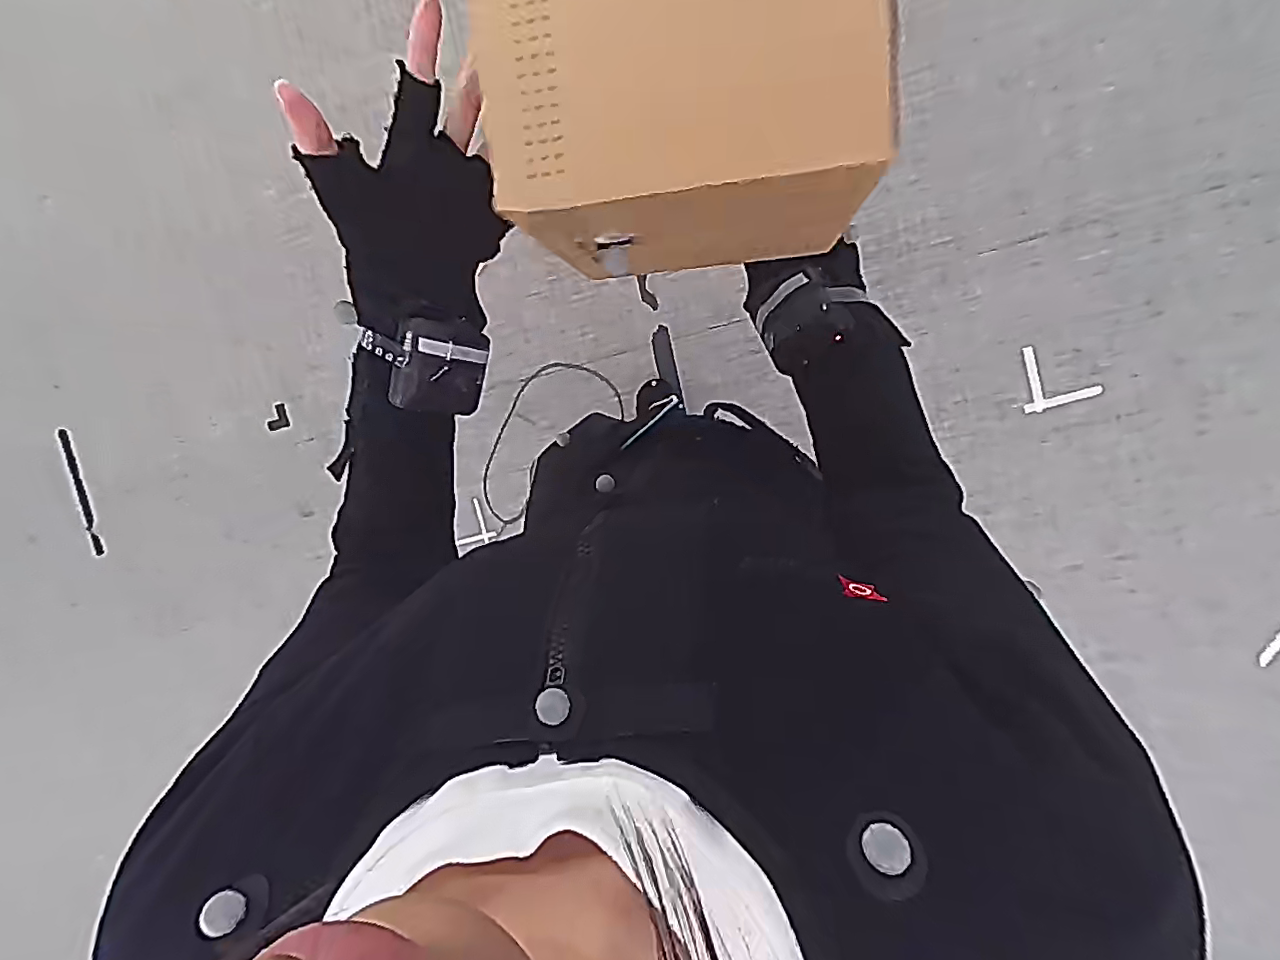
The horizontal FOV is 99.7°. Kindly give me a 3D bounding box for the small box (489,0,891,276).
[{"bbox_3d":[0.023,-0.225,0.297,0.176,0.168,0.179,-3,99,10],"label":"small box"}]
